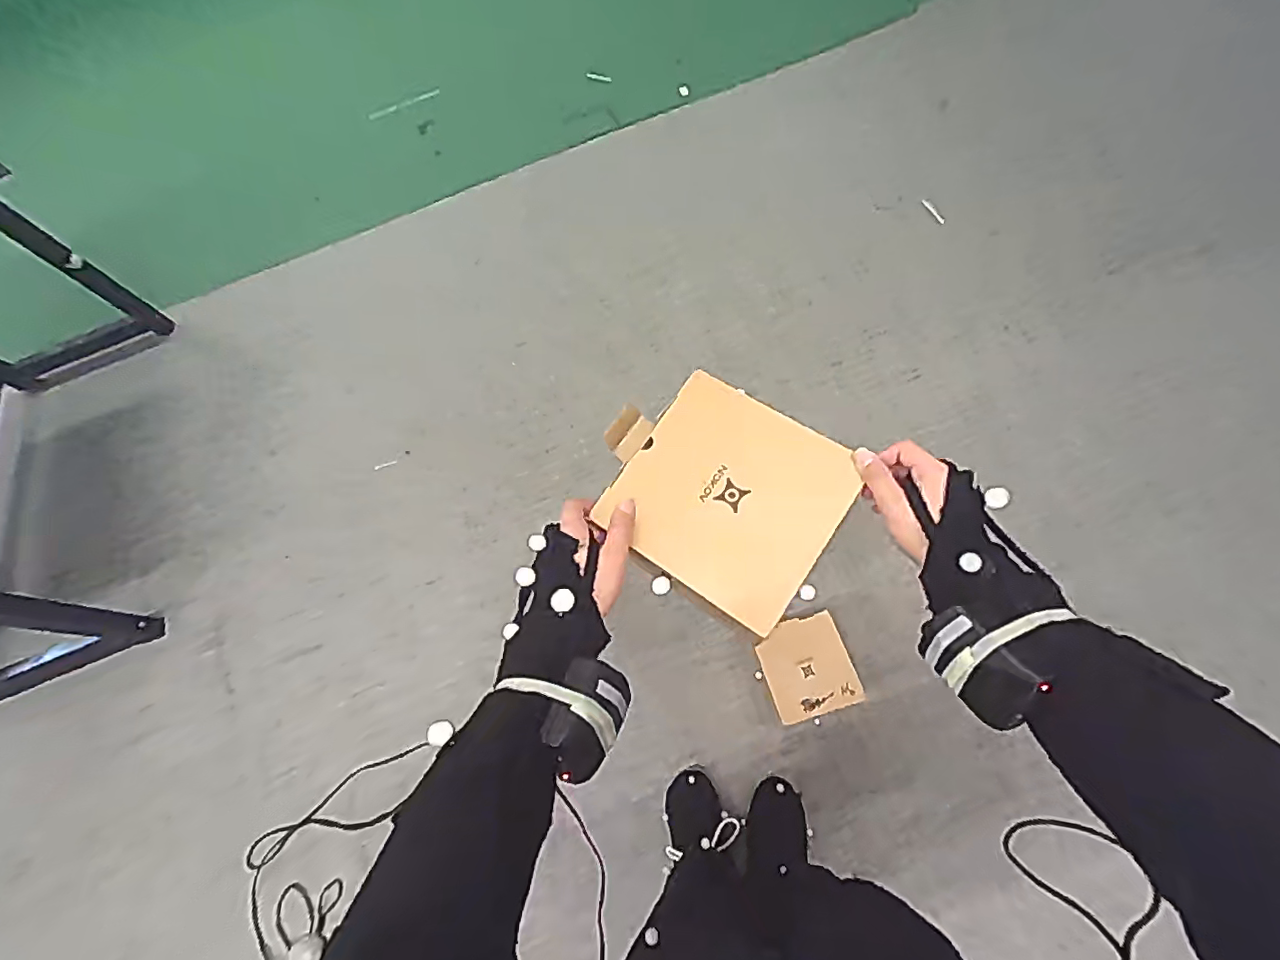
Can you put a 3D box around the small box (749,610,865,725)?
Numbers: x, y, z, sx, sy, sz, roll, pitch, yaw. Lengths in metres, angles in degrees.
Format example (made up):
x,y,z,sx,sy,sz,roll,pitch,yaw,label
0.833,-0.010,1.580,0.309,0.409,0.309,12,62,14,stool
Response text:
x,y,z,sx,sy,sz,roll,pitch,yaw,label
0.329,0.390,1.108,0.168,0.176,0.179,-19,64,1,small box
